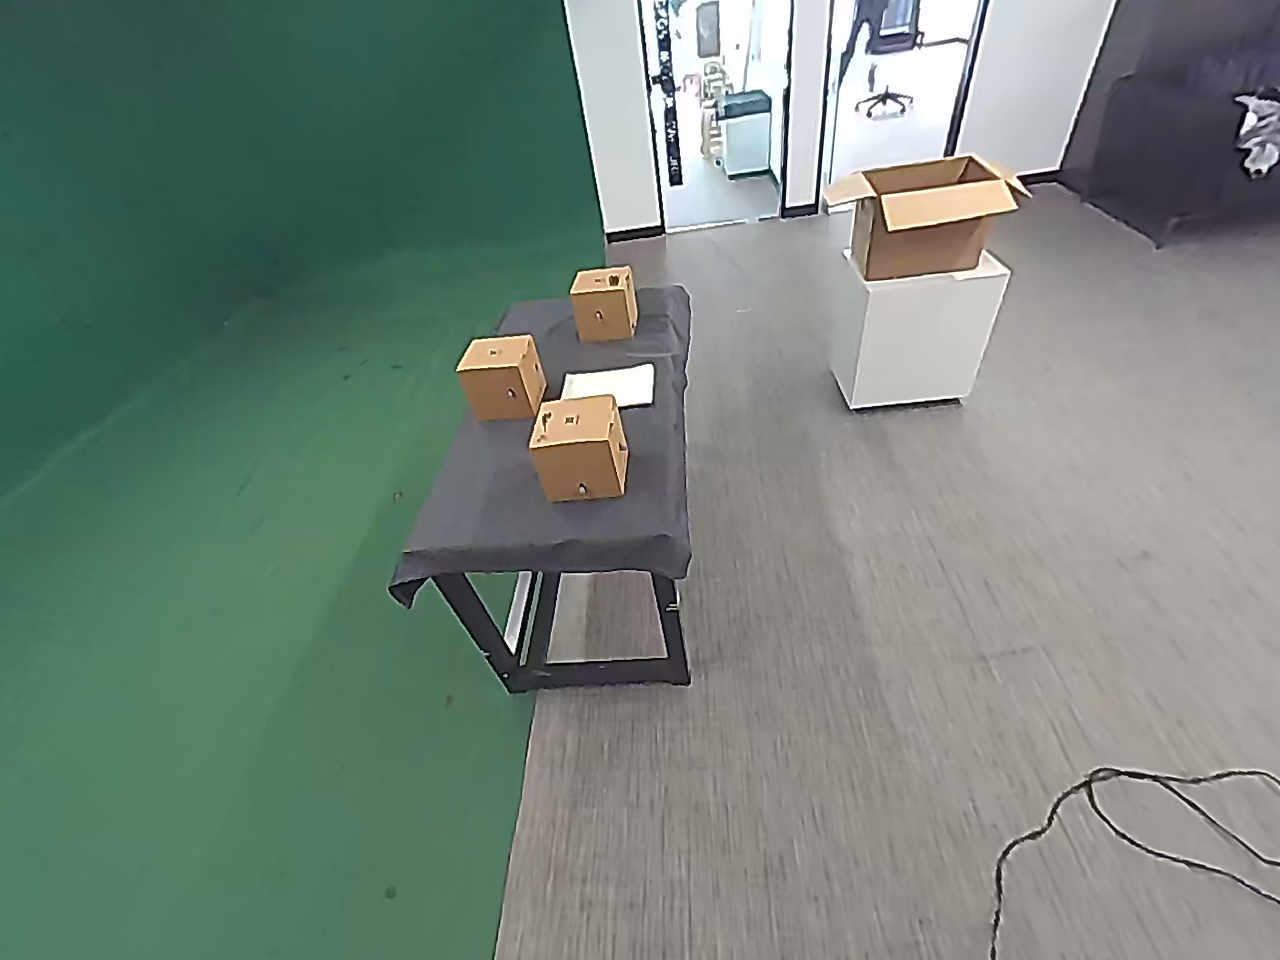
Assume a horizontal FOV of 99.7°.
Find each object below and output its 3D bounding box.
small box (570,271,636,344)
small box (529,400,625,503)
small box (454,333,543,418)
[{"bbox_3d":[-0.113,-0.560,1.760,0.179,0.176,0.168,-2,43,10],"label":"small box"},{"bbox_3d":[-0.133,-0.063,1.237,0.179,0.176,0.168,-4,42,7],"label":"small box"},{"bbox_3d":[-0.383,-0.288,1.504,0.179,0.176,0.168,-4,42,8],"label":"small box"}]
